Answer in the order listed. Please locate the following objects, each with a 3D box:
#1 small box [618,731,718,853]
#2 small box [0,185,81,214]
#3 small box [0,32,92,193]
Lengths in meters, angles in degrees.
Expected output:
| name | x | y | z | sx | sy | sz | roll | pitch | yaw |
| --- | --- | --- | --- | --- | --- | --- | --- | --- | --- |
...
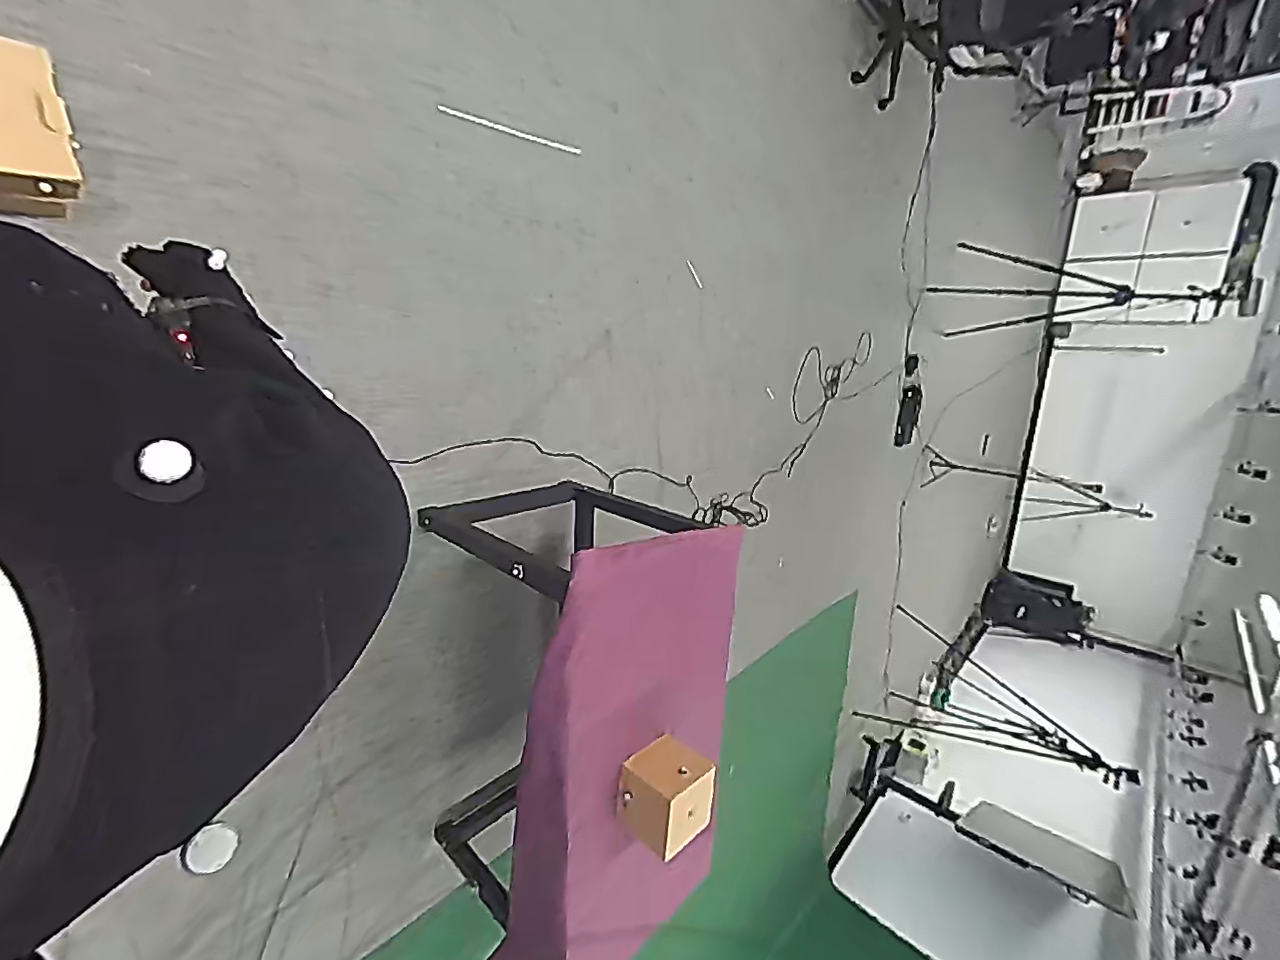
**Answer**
| name | x | y | z | sx | sy | sz | roll | pitch | yaw |
| --- | --- | --- | --- | --- | --- | --- | --- | --- | --- |
| small box | 0.069 | 0.763 | 1.349 | 0.179 | 0.176 | 0.168 | -6 | 105 | -46 |
| small box | -1.030 | -0.538 | 0.860 | 0.168 | 0.176 | 0.179 | -15 | 113 | -43 |
| small box | -0.908 | -0.511 | 0.753 | 0.179 | 0.176 | 0.168 | -17 | 114 | -44 |
